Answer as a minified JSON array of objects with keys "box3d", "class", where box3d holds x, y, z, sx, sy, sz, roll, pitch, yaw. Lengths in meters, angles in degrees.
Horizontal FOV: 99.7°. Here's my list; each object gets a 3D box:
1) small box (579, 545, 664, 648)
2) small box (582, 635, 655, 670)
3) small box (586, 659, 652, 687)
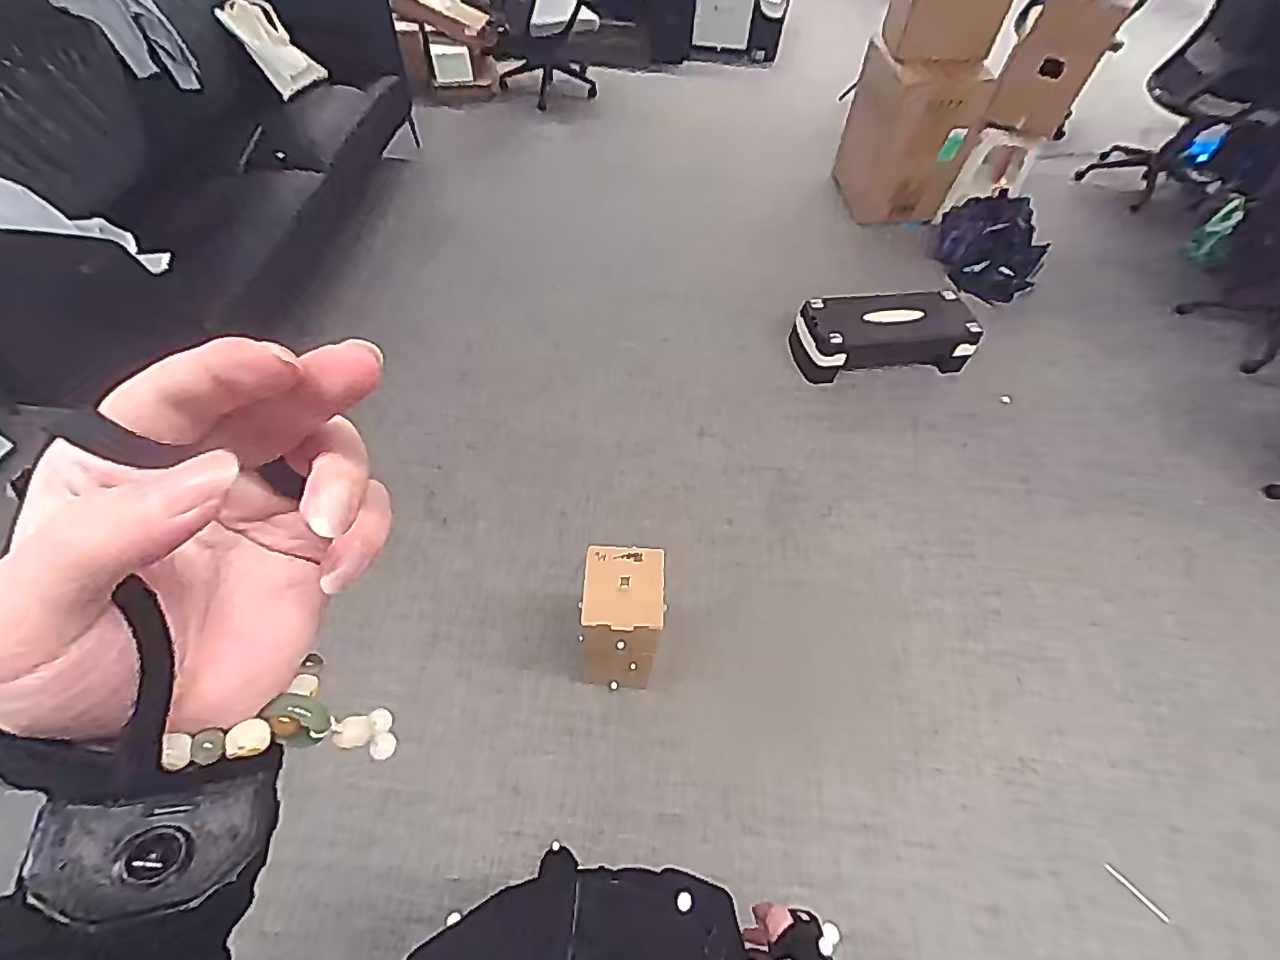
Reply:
[{"box3d":[-0.036,0.256,1.167,0.168,0.176,0.179,3,57,-1],"class":"small box"},{"box3d":[-0.044,0.346,1.303,0.168,0.176,0.179,4,55,-1],"class":"small box"},{"box3d":[-0.050,0.436,1.438,0.168,0.176,0.179,5,56,1],"class":"small box"}]
